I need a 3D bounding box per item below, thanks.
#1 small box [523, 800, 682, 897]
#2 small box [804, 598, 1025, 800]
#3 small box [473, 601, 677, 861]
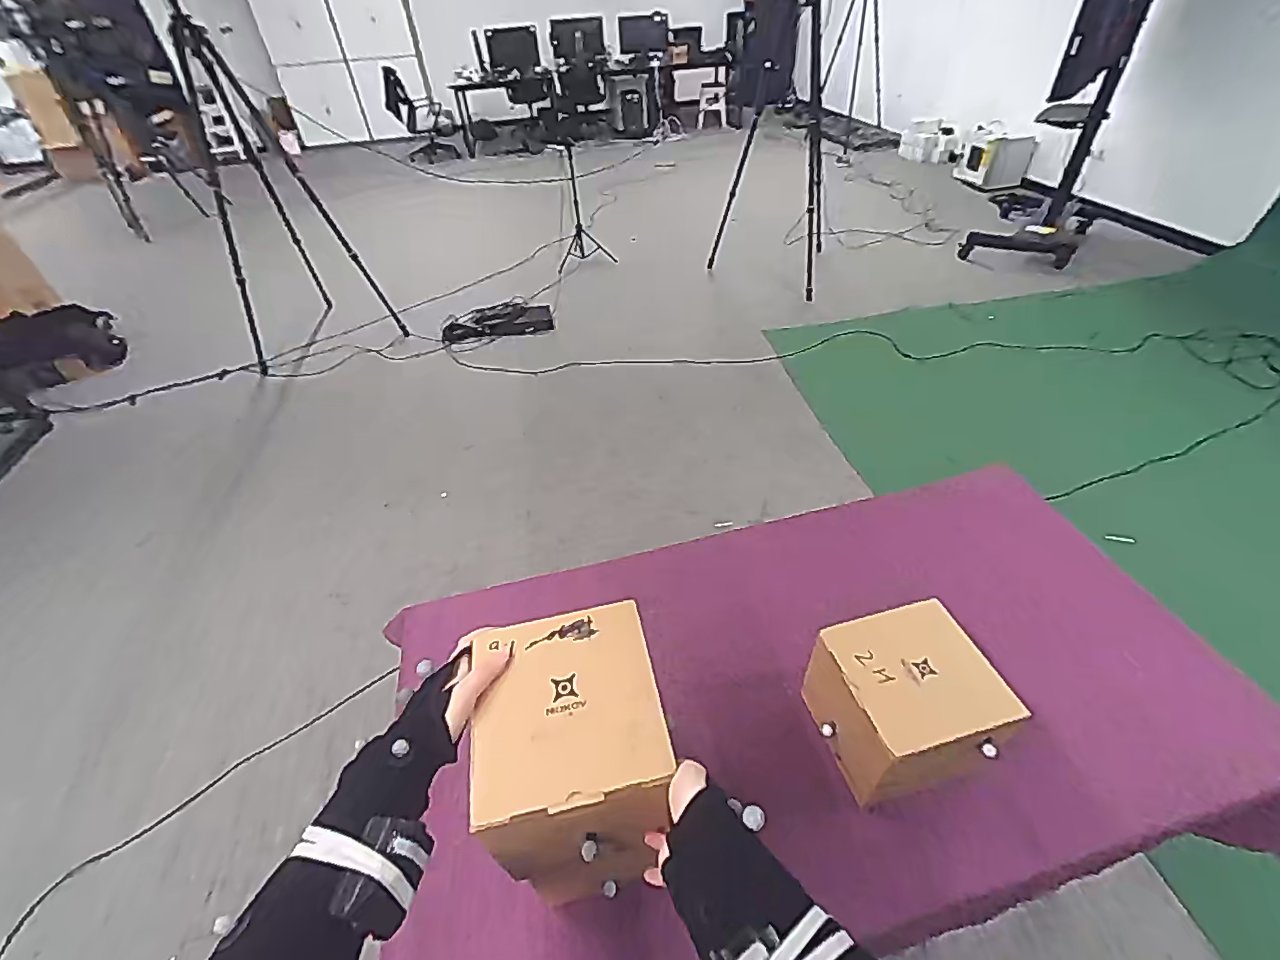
[{"bbox_3d":[-0.050,0.367,0.657,0.168,0.176,0.179,-11,44,-7],"label":"small box"},{"bbox_3d":[0.337,0.285,0.707,0.179,0.176,0.168,-13,43,-8],"label":"small box"},{"bbox_3d":[-0.061,0.253,0.539,0.168,0.176,0.179,-11,44,-7],"label":"small box"}]
